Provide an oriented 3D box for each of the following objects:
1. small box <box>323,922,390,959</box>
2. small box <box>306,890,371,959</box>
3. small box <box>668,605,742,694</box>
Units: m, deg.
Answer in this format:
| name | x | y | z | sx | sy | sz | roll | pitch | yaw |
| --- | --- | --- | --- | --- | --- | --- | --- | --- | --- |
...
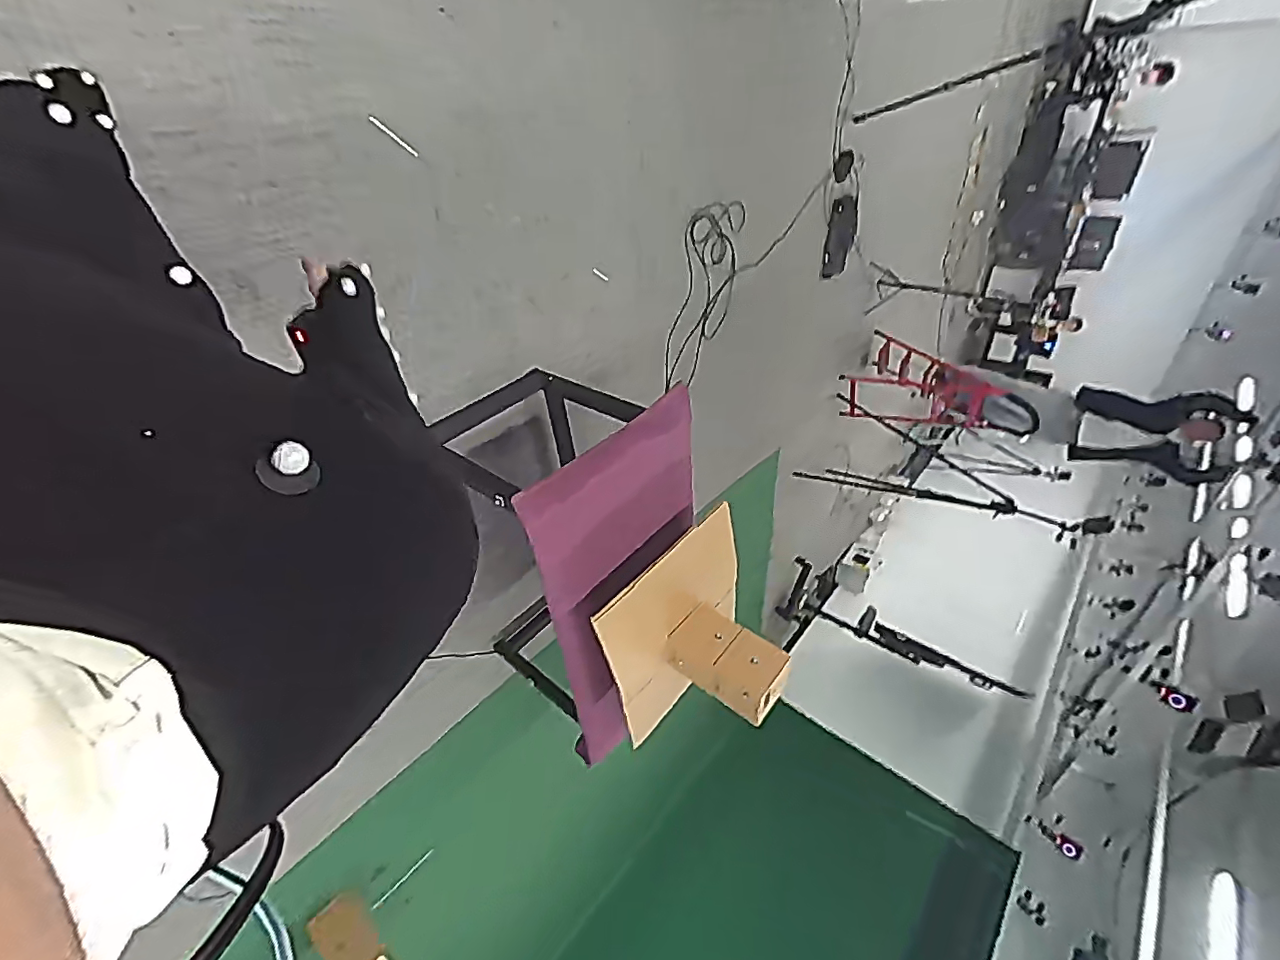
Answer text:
| name | x | y | z | sx | sy | sz | roll | pitch | yaw |
| --- | --- | --- | --- | --- | --- | --- | --- | --- | --- |
| small box | -1.115 | 1.908 | 2.136 | 0.168 | 0.176 | 0.179 | -33 | 134 | -37 |
| small box | -1.238 | 1.851 | 2.230 | 0.168 | 0.176 | 0.179 | -34 | 135 | -36 |
| small box | 0.207 | 0.540 | 1.745 | 0.179 | 0.176 | 0.168 | -37 | 139 | -34 |
